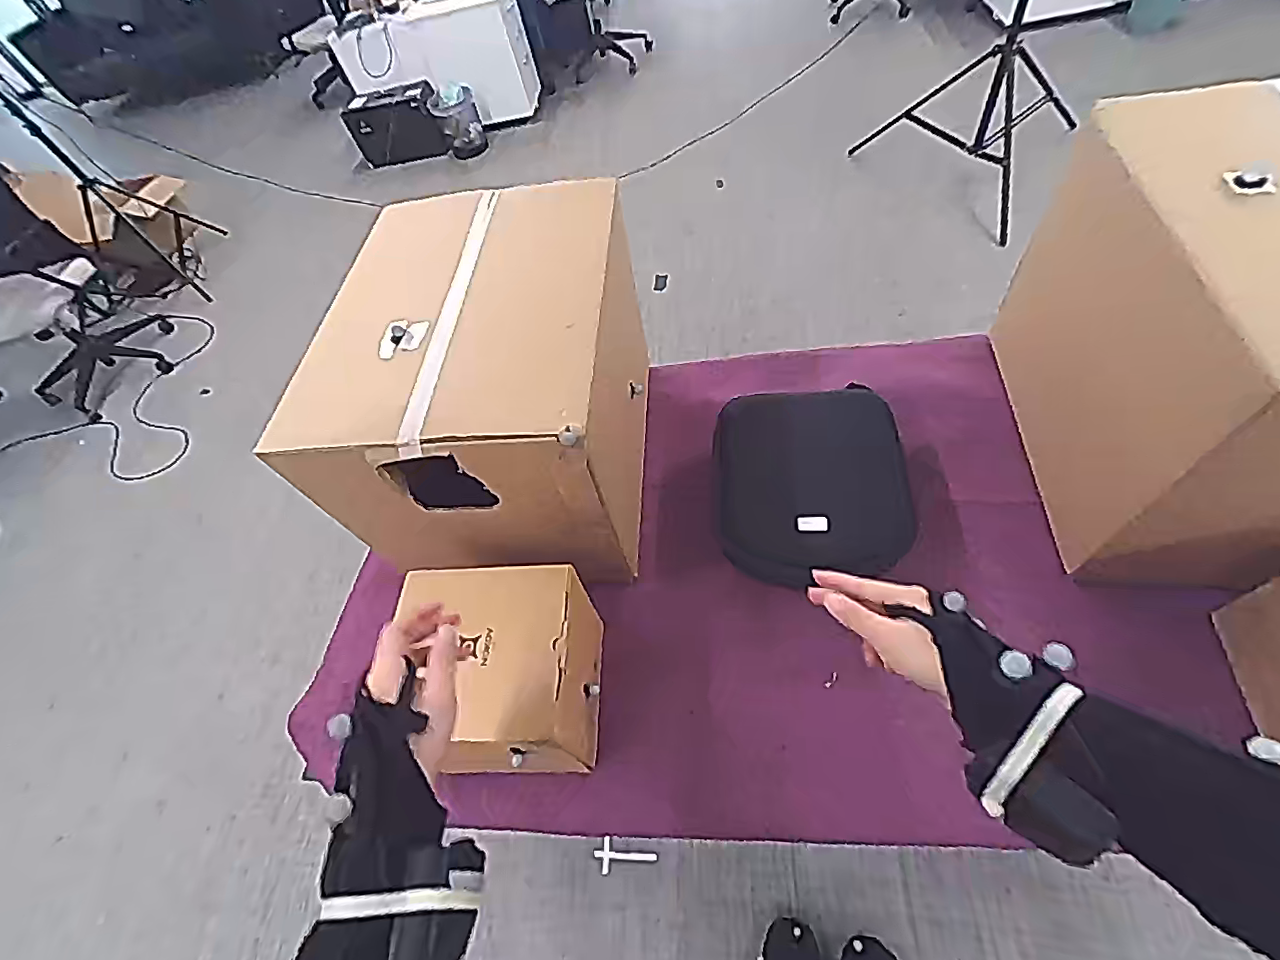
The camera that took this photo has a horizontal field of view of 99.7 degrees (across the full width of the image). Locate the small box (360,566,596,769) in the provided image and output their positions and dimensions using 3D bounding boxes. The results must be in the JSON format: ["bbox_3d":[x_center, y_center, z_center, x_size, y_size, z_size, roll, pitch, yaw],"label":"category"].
[{"bbox_3d":[-0.152,0.206,0.579,0.179,0.176,0.168,-4,54,6],"label":"small box"}]

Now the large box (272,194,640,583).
[{"bbox_3d":[-0.172,-0.103,0.713,0.320,0.320,0.408,-3,58,9],"label":"large box"}]
